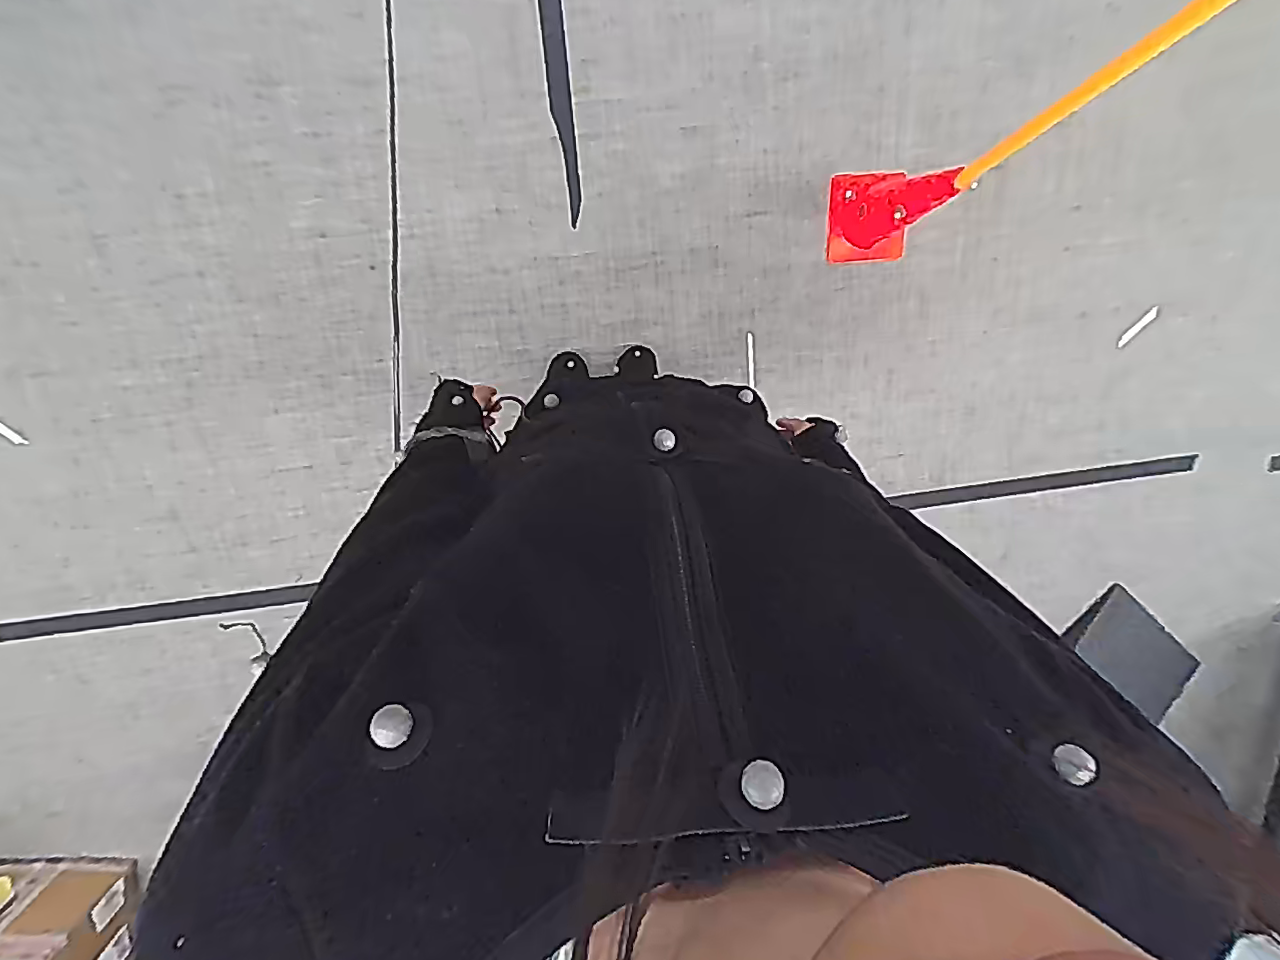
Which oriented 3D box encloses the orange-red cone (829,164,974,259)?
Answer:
[{"bbox_3d":[0.575,-0.599,1.151,0.198,0.360,0.199,-3,106,-5],"label":"orange-red cone"}]
